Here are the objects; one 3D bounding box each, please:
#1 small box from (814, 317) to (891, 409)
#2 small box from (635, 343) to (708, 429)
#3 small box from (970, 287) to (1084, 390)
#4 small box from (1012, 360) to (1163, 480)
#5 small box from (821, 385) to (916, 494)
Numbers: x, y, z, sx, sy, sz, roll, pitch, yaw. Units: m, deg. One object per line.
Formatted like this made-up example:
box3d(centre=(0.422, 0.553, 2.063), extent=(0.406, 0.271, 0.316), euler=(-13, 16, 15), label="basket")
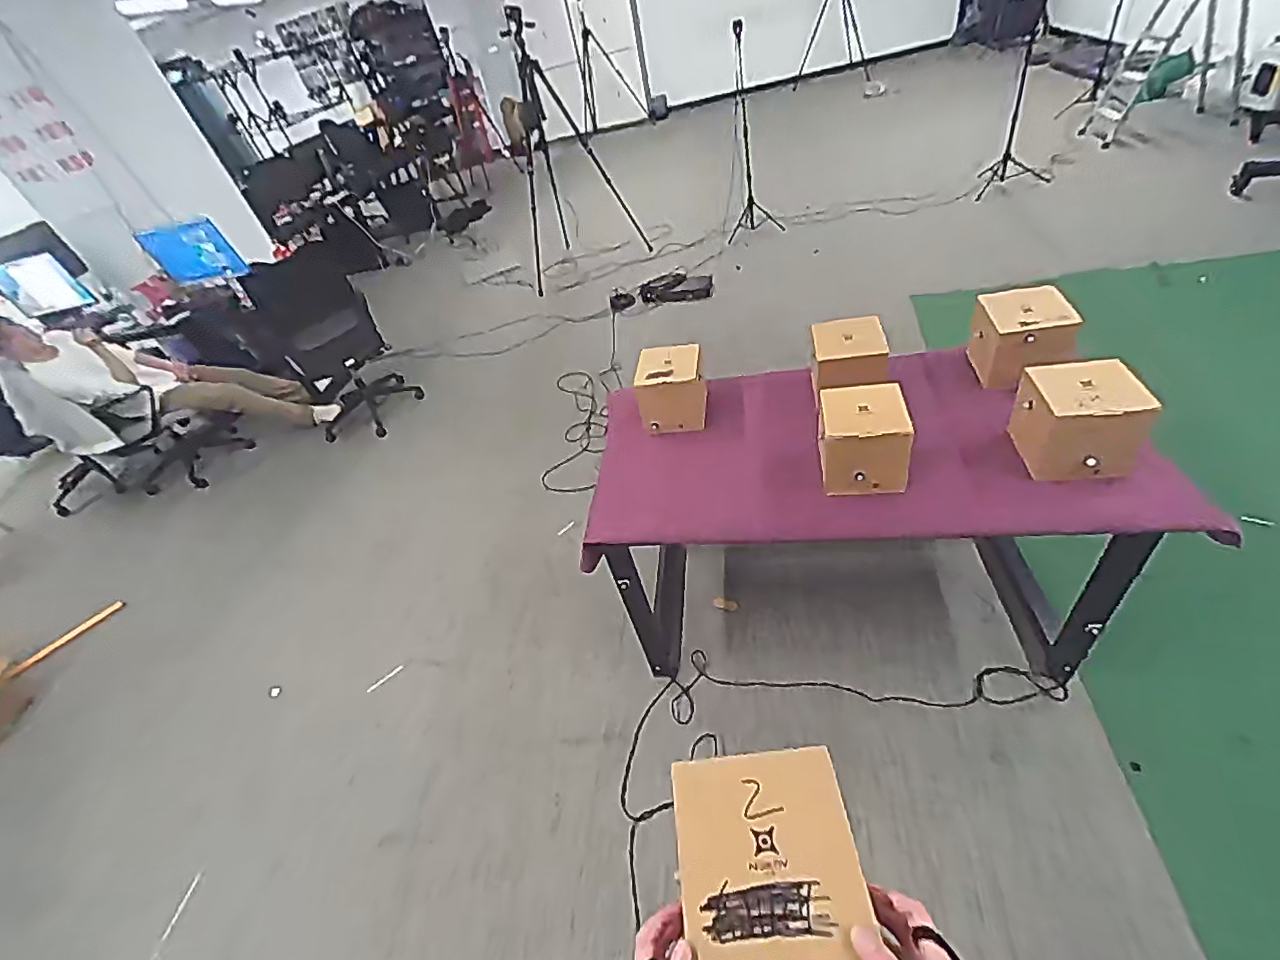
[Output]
box3d(centre=(0.542, -0.299, 1.403), extent=(0.168, 0.176, 0.179), euler=(-3, 45, 15), label="small box")
box3d(centre=(0.095, -0.252, 1.491), extent=(0.168, 0.176, 0.179), euler=(-3, 44, 14), label="small box")
box3d(centre=(0.929, -0.342, 1.318), extent=(0.168, 0.176, 0.179), euler=(-5, 44, 16), label="small box")
box3d(centre=(0.883, -0.118, 1.092), extent=(0.168, 0.176, 0.179), euler=(-3, 42, 16), label="small box")
box3d(centre=(0.493, -0.088, 1.193), extent=(0.168, 0.176, 0.179), euler=(-3, 43, 15), label="small box")
